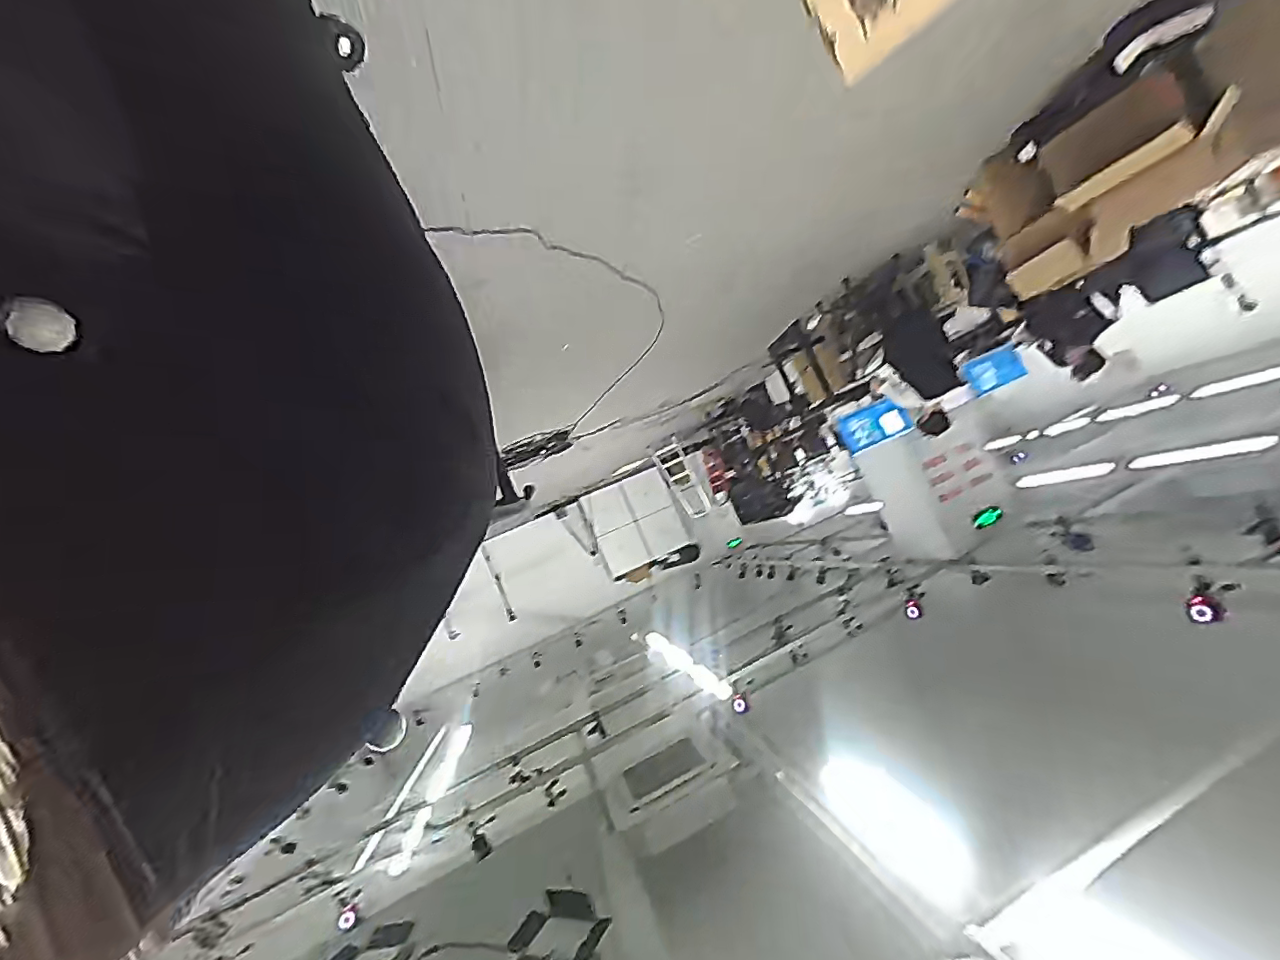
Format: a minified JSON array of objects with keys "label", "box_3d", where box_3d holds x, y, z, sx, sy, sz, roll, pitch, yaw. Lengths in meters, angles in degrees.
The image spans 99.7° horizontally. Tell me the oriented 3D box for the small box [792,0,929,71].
[{"label":"small box","box_3d":[0.179,-0.488,0.418,0.179,0.176,0.168,-27,176,36]}]
